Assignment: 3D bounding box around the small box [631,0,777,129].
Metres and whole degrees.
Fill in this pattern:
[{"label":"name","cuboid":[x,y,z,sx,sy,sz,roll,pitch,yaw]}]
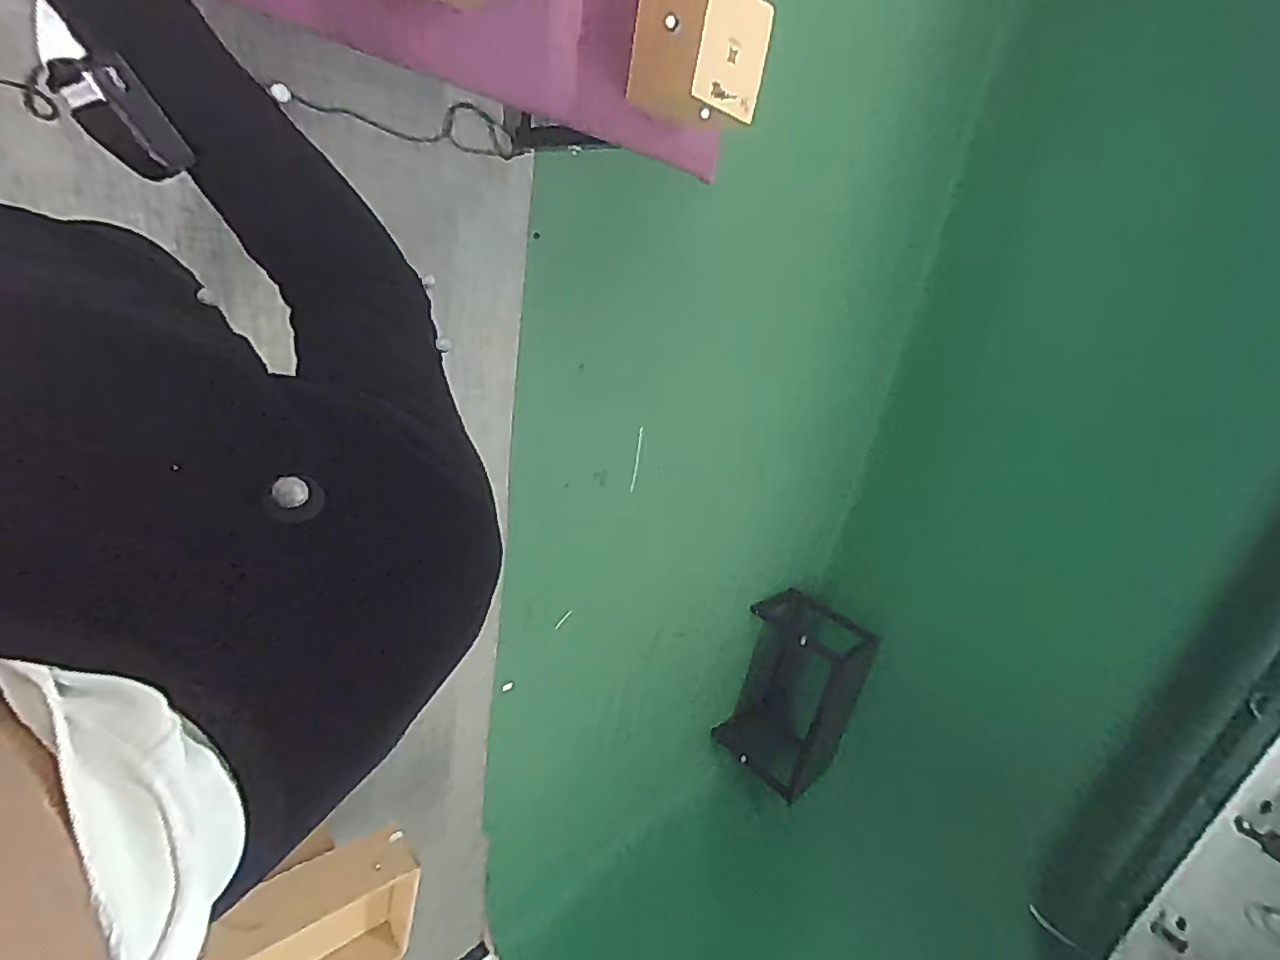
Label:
[{"label":"small box","cuboid":[0.104,-0.735,0.937,0.168,0.176,0.179,-9,119,-41]}]
